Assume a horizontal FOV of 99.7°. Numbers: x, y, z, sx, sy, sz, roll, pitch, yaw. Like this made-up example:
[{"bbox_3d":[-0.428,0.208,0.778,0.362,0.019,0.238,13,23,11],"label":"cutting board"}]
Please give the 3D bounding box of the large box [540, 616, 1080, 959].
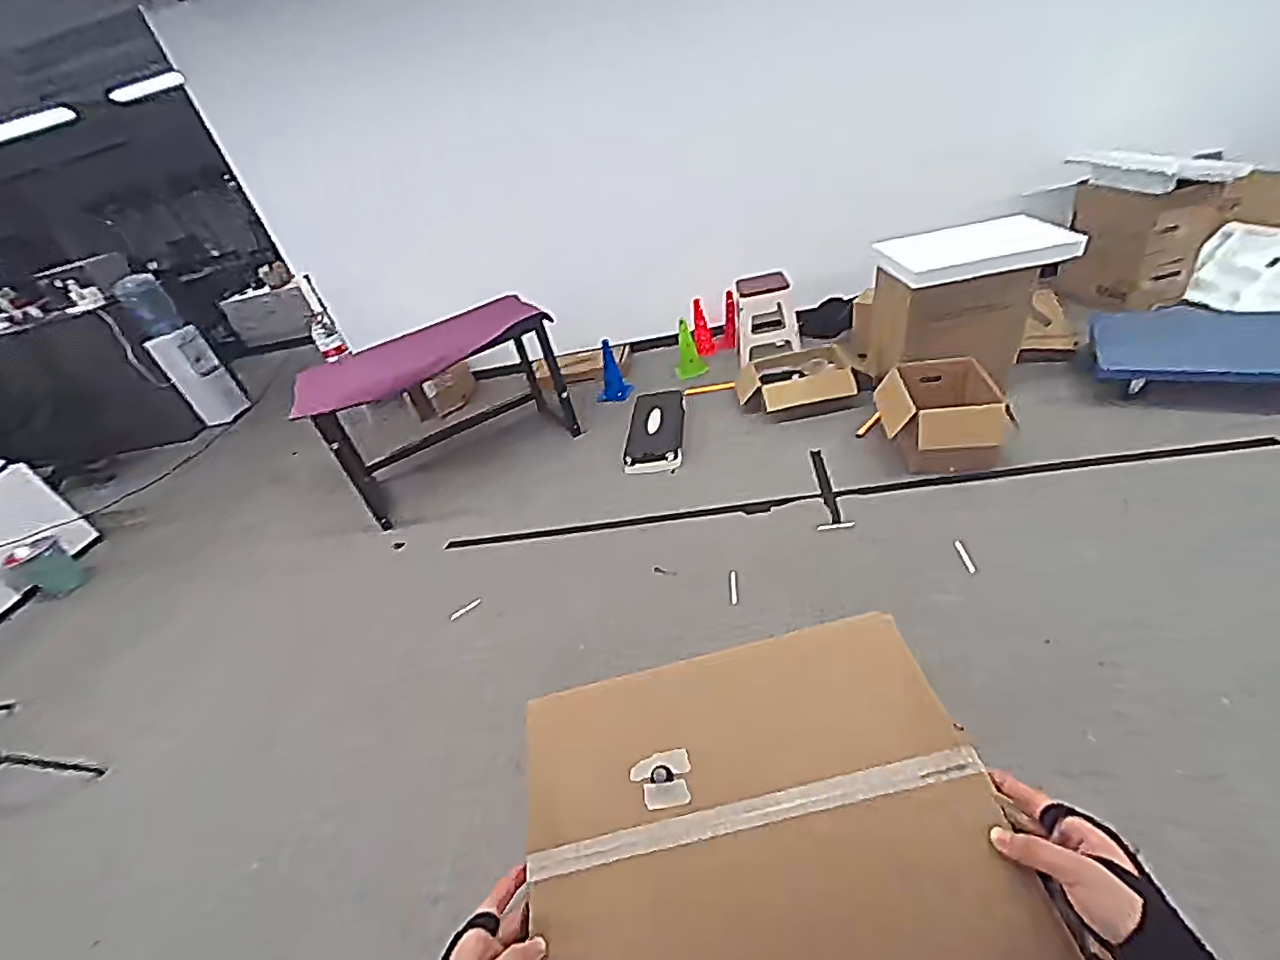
[{"bbox_3d":[0.137,0.405,0.593,0.408,0.320,0.320,-16,43,4],"label":"large box"}]
